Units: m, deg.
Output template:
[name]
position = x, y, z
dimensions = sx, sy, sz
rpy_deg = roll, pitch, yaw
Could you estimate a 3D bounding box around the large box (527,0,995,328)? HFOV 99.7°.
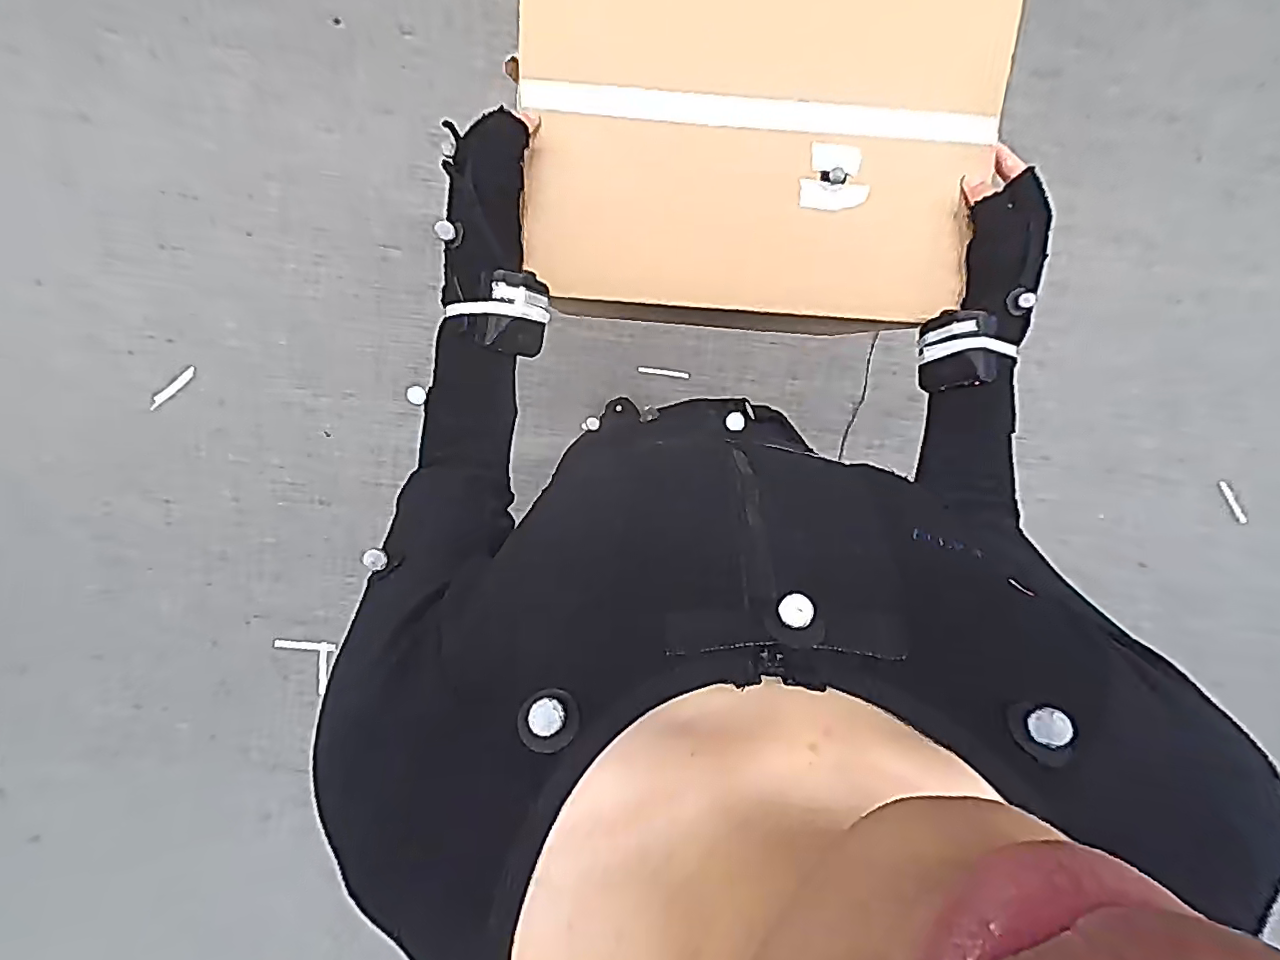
[large box]
position = 0.094, -0.349, 0.621
dimensions = 0.408, 0.320, 0.320
rpy_deg = 3, 104, -3
